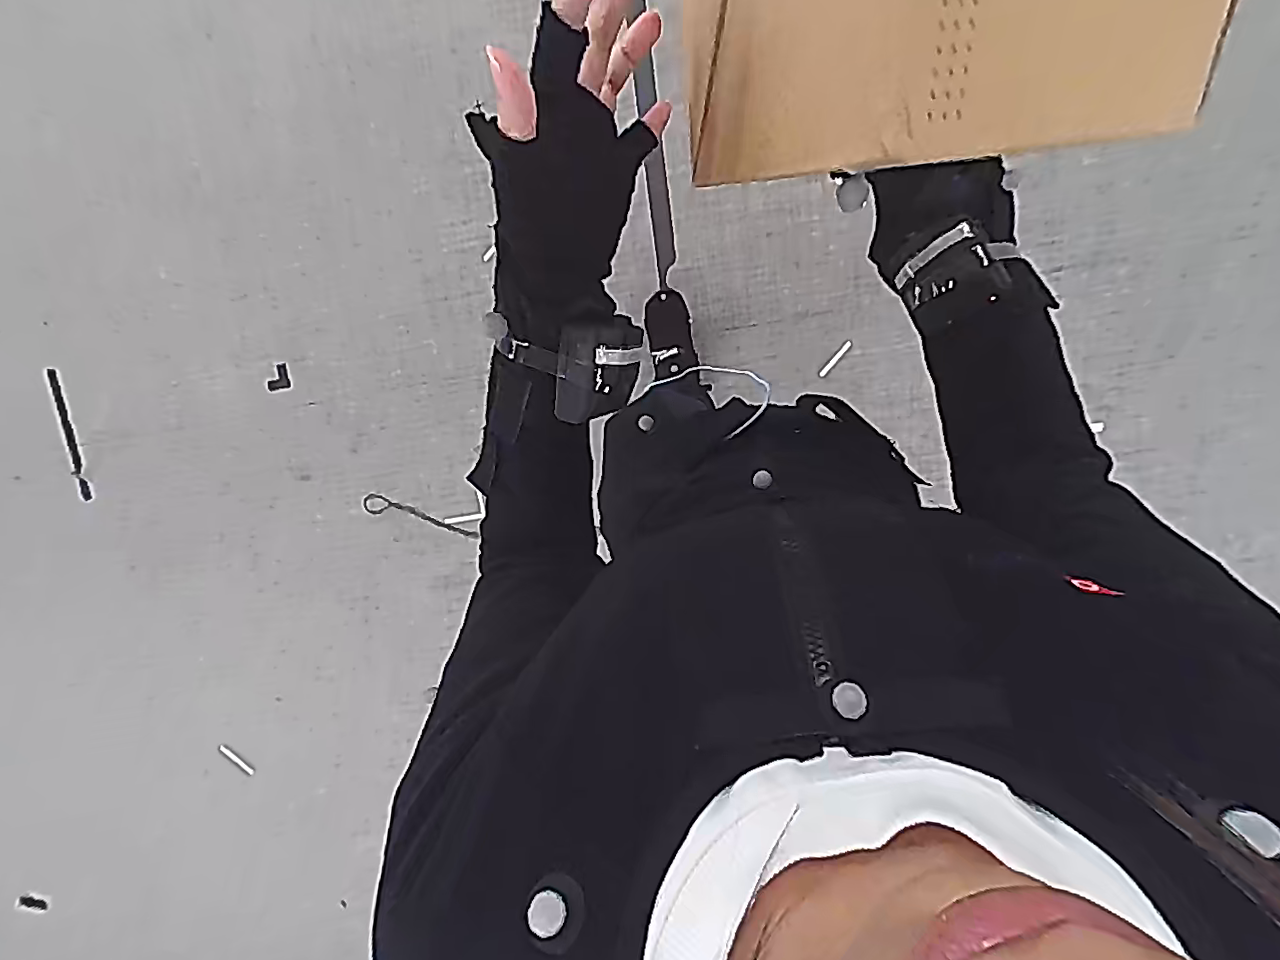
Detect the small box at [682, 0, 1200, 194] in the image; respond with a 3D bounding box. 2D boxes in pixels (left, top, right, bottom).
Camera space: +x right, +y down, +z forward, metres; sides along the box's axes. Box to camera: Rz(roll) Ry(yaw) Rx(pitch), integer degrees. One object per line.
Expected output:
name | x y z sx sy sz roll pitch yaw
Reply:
small box | 0.124 -0.245 0.255 0.176 0.168 0.179 -13 119 -15
